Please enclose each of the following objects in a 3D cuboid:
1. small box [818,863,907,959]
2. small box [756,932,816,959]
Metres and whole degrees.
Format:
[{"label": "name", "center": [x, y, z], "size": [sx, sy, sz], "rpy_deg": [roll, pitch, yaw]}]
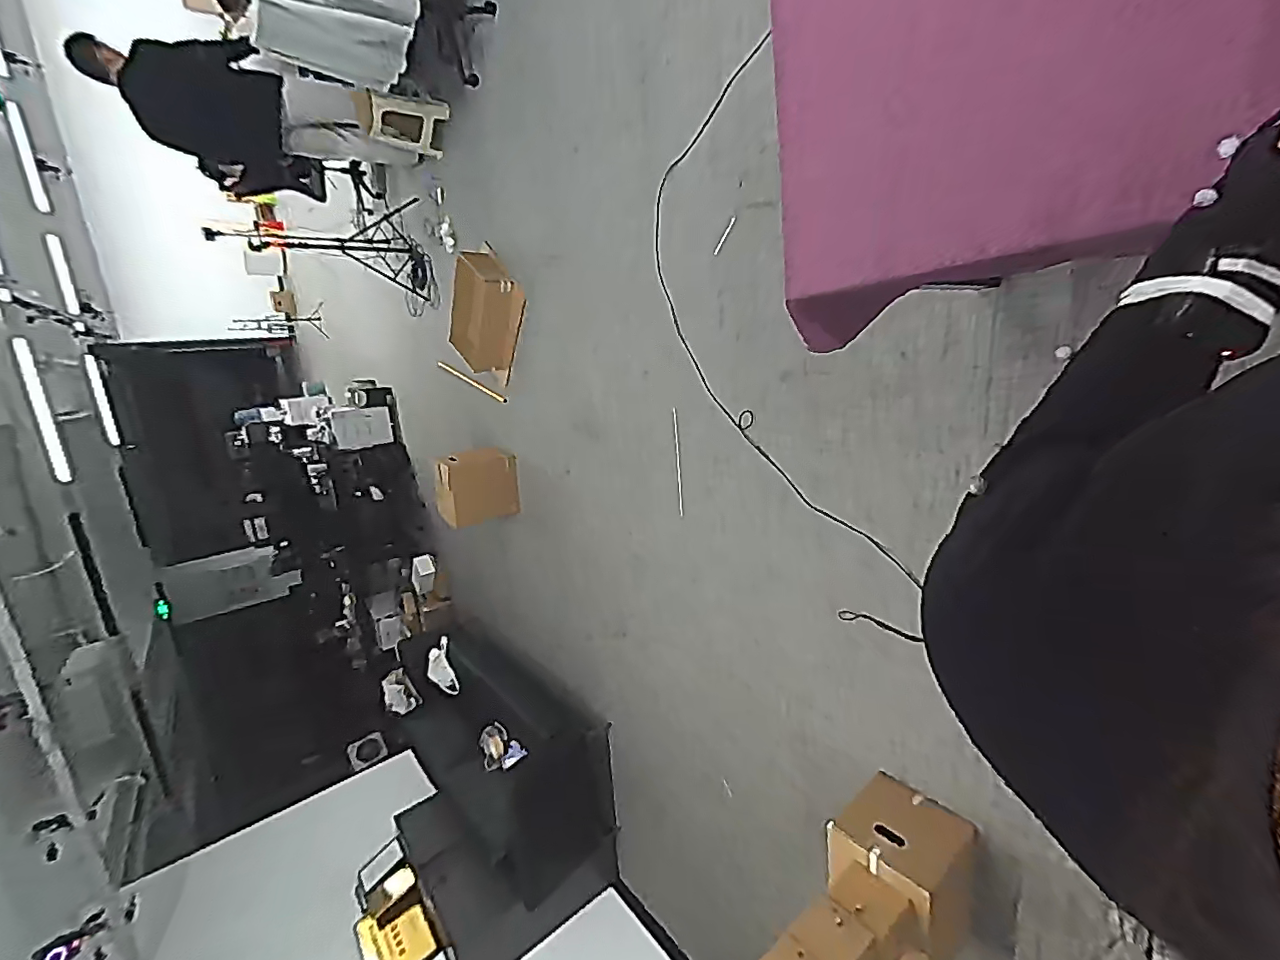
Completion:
[{"label": "small box", "center": [0.628, 1.236, 1.529], "size": [0.179, 0.176, 0.168], "rpy_deg": [8, 108, 49]}, {"label": "small box", "center": [0.370, 1.290, 1.331], "size": [0.168, 0.176, 0.179], "rpy_deg": [13, 110, 49]}]
